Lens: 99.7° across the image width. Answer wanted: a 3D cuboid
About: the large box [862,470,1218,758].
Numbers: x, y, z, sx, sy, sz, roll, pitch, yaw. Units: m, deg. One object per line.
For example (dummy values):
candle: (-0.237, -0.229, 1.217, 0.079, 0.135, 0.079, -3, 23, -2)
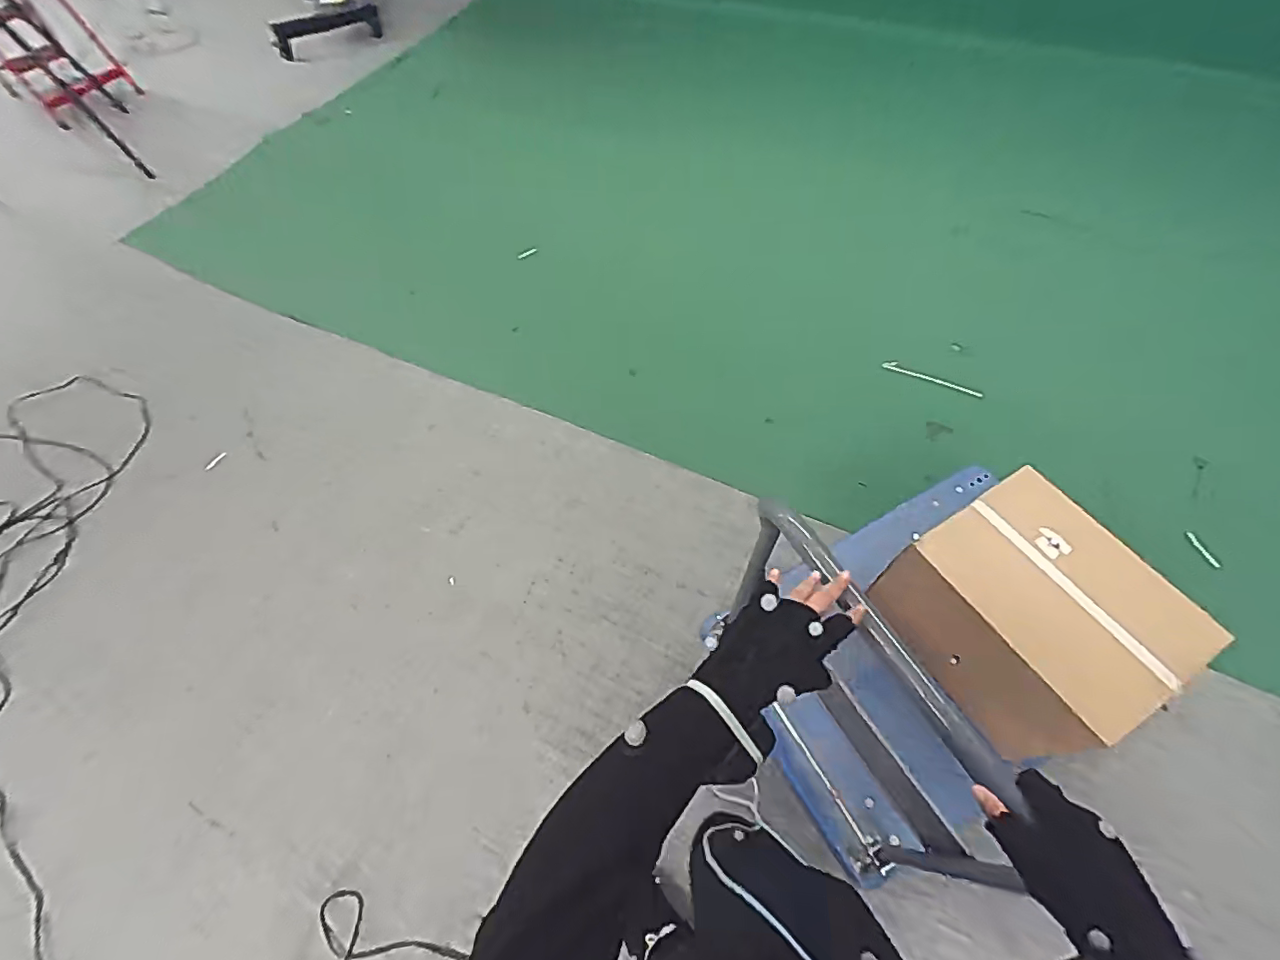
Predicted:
large box: (0.728, 0.267, 1.069, 0.320, 0.320, 0.408, -29, 61, -13)
